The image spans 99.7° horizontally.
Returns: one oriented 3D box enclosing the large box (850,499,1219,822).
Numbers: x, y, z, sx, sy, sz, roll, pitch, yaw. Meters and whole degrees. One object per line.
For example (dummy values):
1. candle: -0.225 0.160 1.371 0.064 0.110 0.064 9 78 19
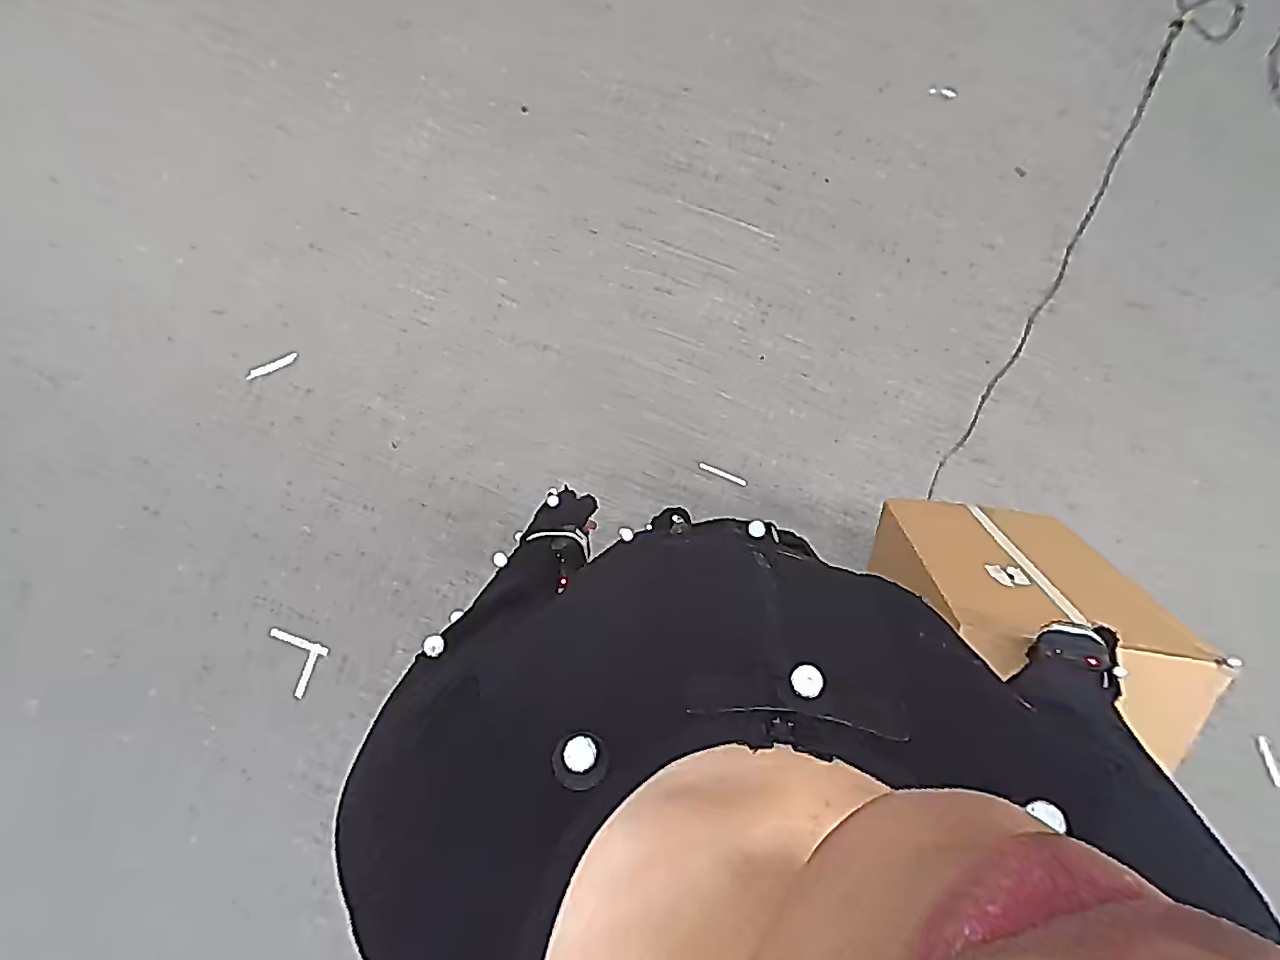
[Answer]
1. large box: 0.584 0.268 0.920 0.320 0.408 0.320 6 114 7
